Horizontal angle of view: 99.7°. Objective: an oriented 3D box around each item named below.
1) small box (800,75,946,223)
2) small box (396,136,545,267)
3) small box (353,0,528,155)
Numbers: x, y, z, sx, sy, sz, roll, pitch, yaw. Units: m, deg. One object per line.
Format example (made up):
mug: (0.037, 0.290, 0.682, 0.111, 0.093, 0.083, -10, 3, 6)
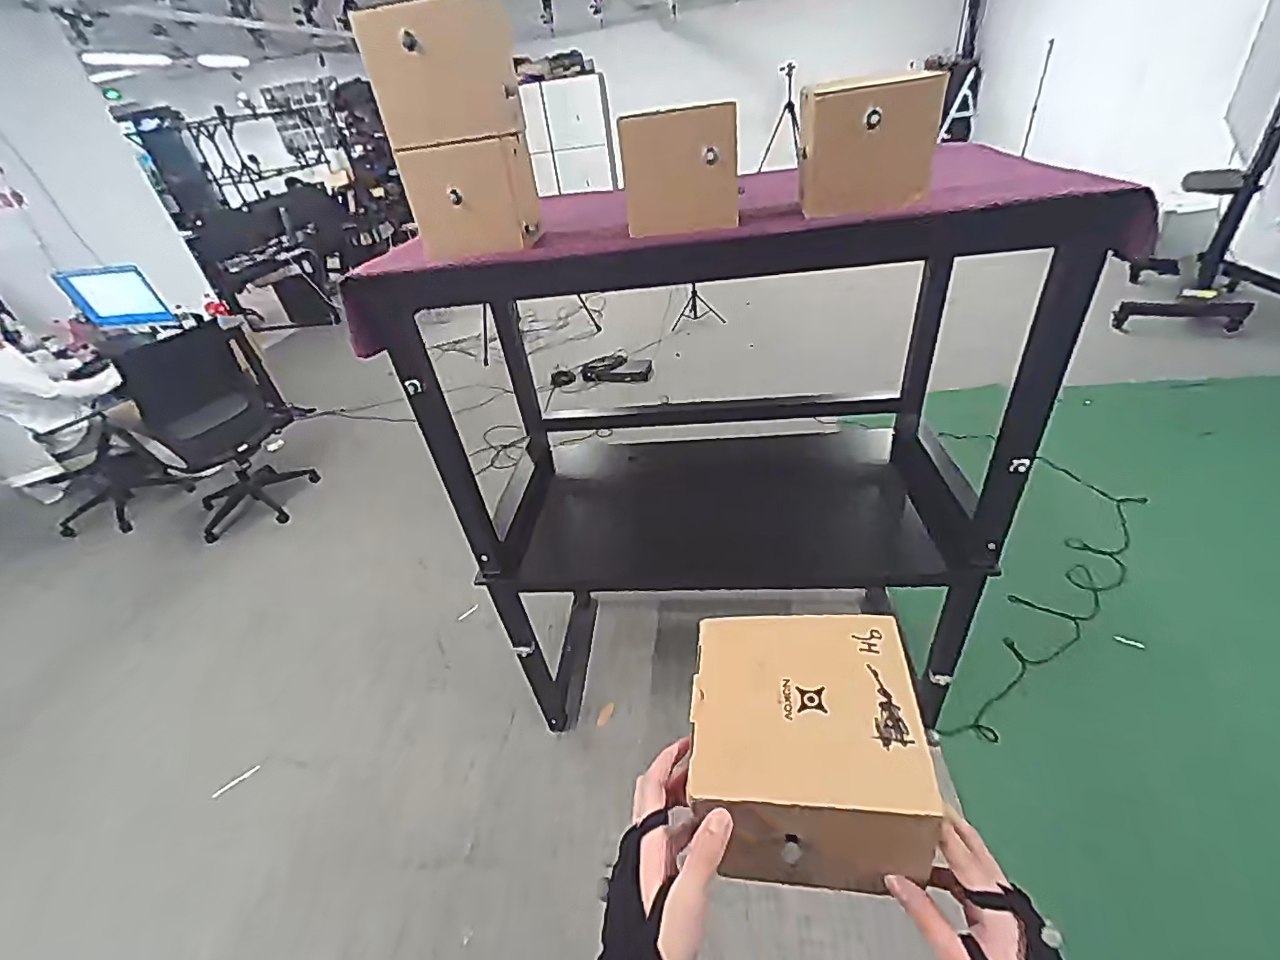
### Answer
small box: (0.344, -0.510, 0.839, 0.179, 0.176, 0.168, -1, 38, 10)
small box: (-0.276, -0.481, 0.932, 0.179, 0.176, 0.168, -4, 35, 8)
small box: (-0.294, -0.615, 0.839, 0.179, 0.176, 0.168, -3, 36, 8)
